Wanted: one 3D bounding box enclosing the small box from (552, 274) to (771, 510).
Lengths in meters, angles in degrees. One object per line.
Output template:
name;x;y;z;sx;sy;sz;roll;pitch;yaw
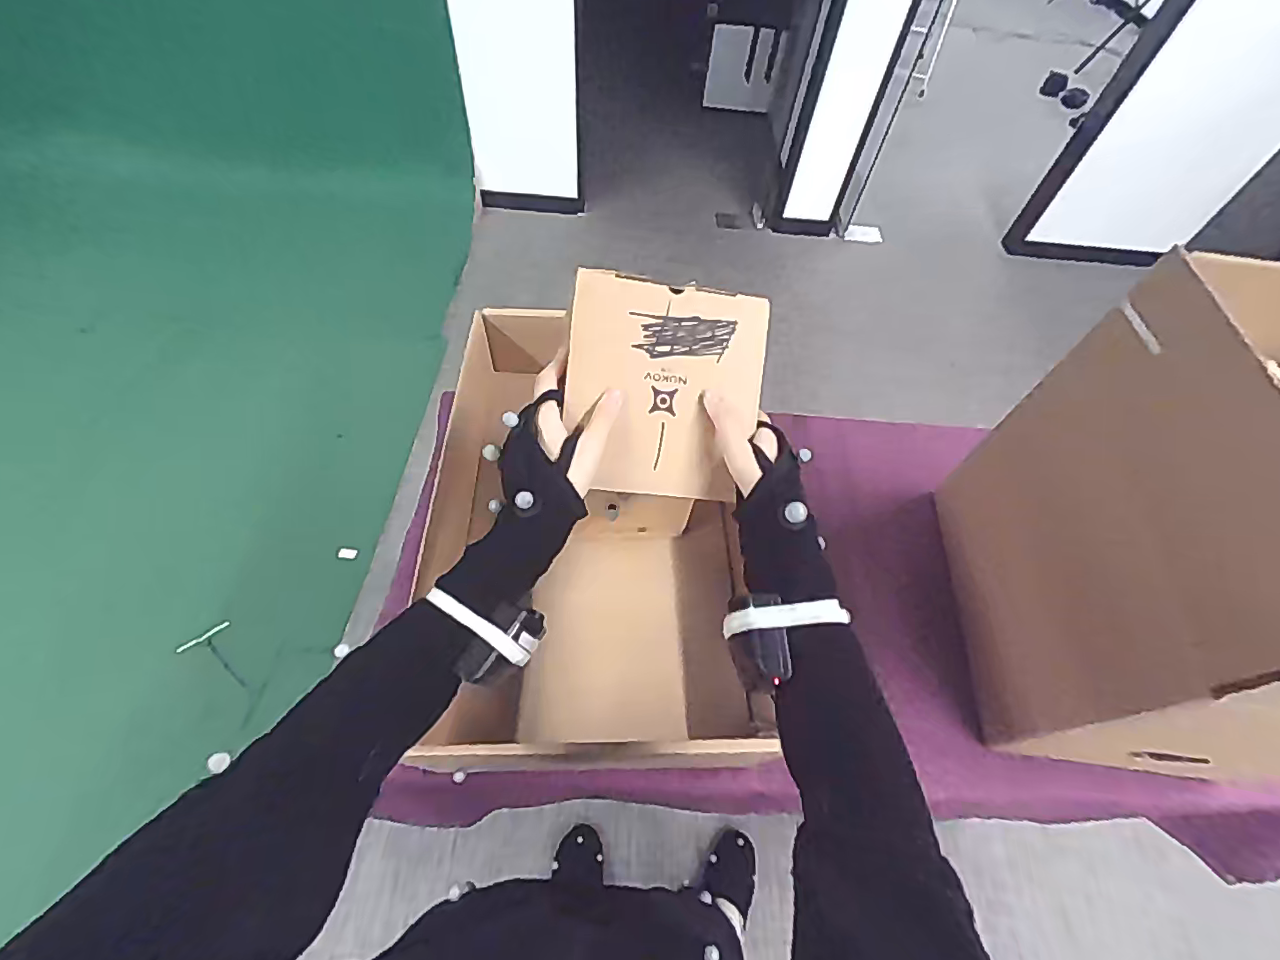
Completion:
small box;0.007;-0.075;0.523;0.168;0.176;0.179;6;95;-11

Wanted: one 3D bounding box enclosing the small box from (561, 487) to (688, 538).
small box;-0.020;-0.026;0.750;0.168;0.176;0.179;-1;58;-5
